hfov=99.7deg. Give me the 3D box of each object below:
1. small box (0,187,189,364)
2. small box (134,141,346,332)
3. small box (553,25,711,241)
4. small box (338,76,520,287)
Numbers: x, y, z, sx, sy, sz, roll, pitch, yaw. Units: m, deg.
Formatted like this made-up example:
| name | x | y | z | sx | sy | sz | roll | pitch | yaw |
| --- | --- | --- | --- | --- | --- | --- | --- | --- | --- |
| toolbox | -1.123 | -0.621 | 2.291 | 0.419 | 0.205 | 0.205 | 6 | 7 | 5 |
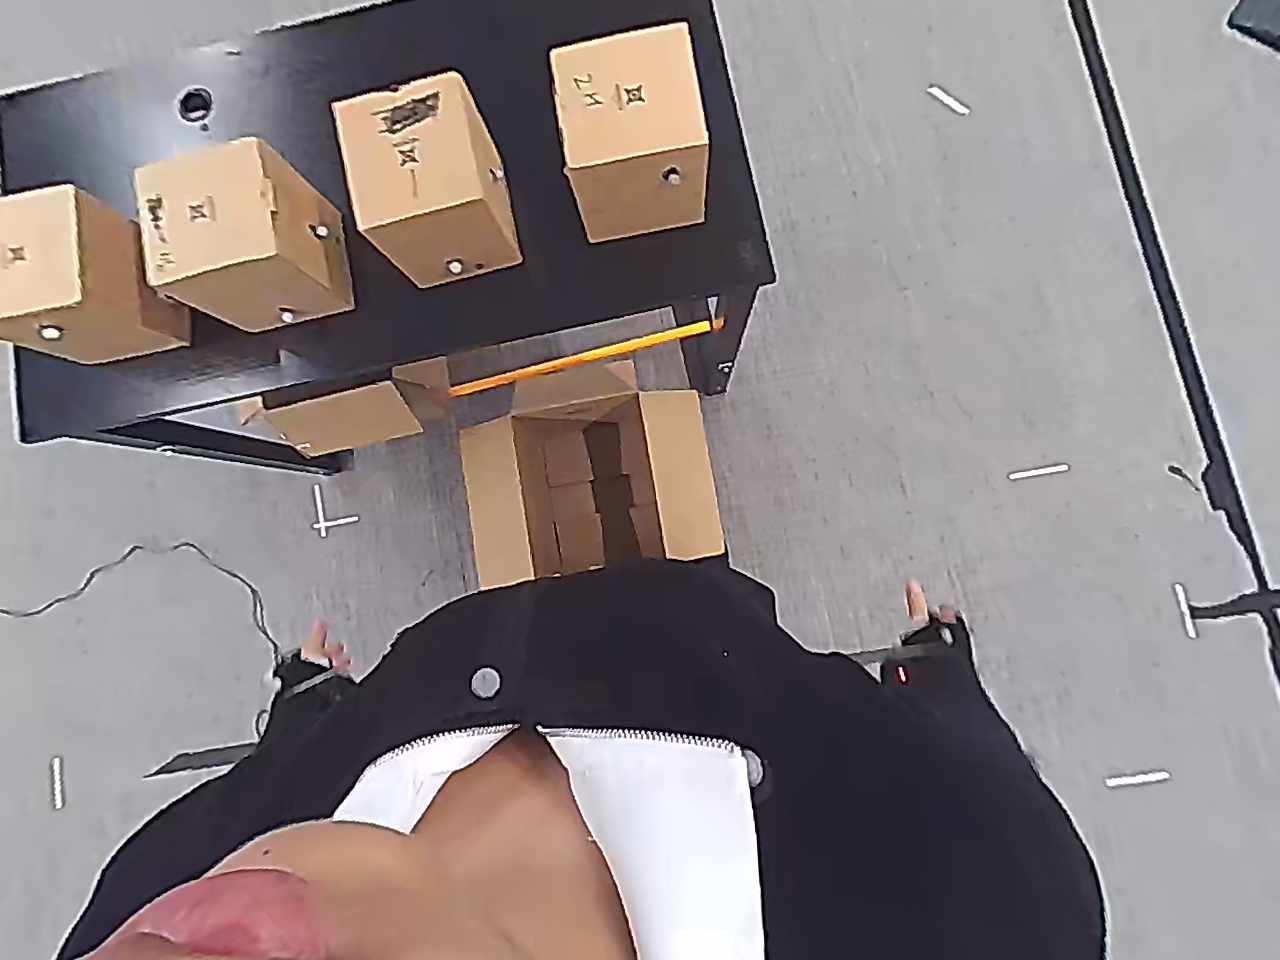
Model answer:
| name | x | y | z | sx | sy | sz | roll | pitch | yaw |
| --- | --- | --- | --- | --- | --- | --- | --- | --- | --- |
| small box | -0.801 | -0.278 | 0.772 | 0.179 | 0.176 | 0.168 | -10 | 85 | 2 |
| small box | -0.543 | -0.328 | 0.761 | 0.179 | 0.176 | 0.168 | -13 | 84 | 2 |
| small box | -0.006 | -0.456 | 0.736 | 0.179 | 0.176 | 0.168 | -9 | 83 | 4 |
| small box | -0.280 | -0.399 | 0.750 | 0.168 | 0.176 | 0.179 | -13 | 84 | 3 |
